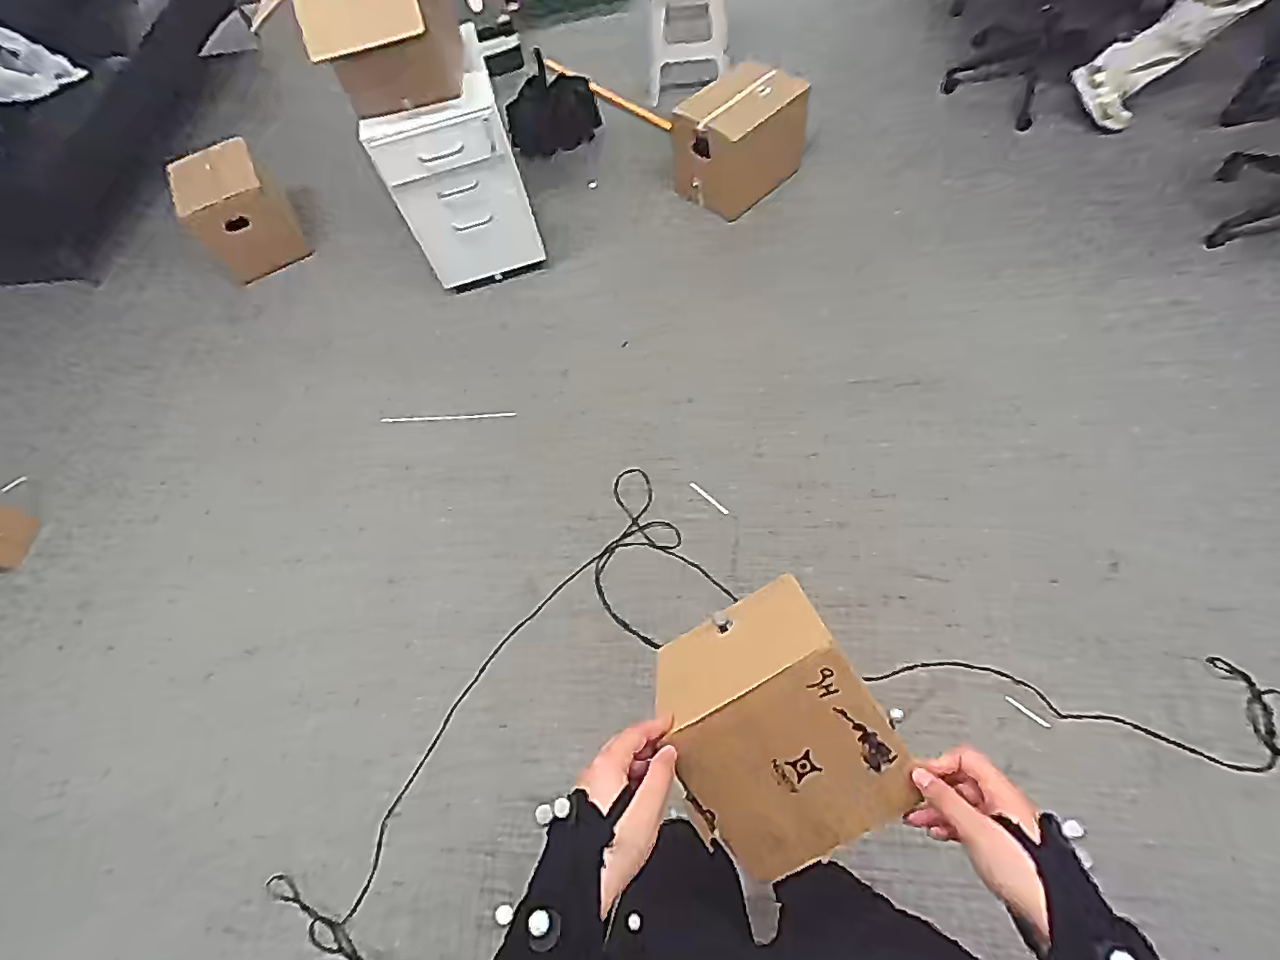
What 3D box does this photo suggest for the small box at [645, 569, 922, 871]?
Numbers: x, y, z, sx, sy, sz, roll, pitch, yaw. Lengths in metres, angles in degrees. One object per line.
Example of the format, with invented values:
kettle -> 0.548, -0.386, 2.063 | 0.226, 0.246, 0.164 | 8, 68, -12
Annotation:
small box -> 0.125, 0.216, 0.529 | 0.179, 0.176, 0.168 | -34, 95, 8

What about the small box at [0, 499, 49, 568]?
small box -> -2.062, 0.169, 1.716 | 0.168, 0.176, 0.179 | 0, 63, 8
